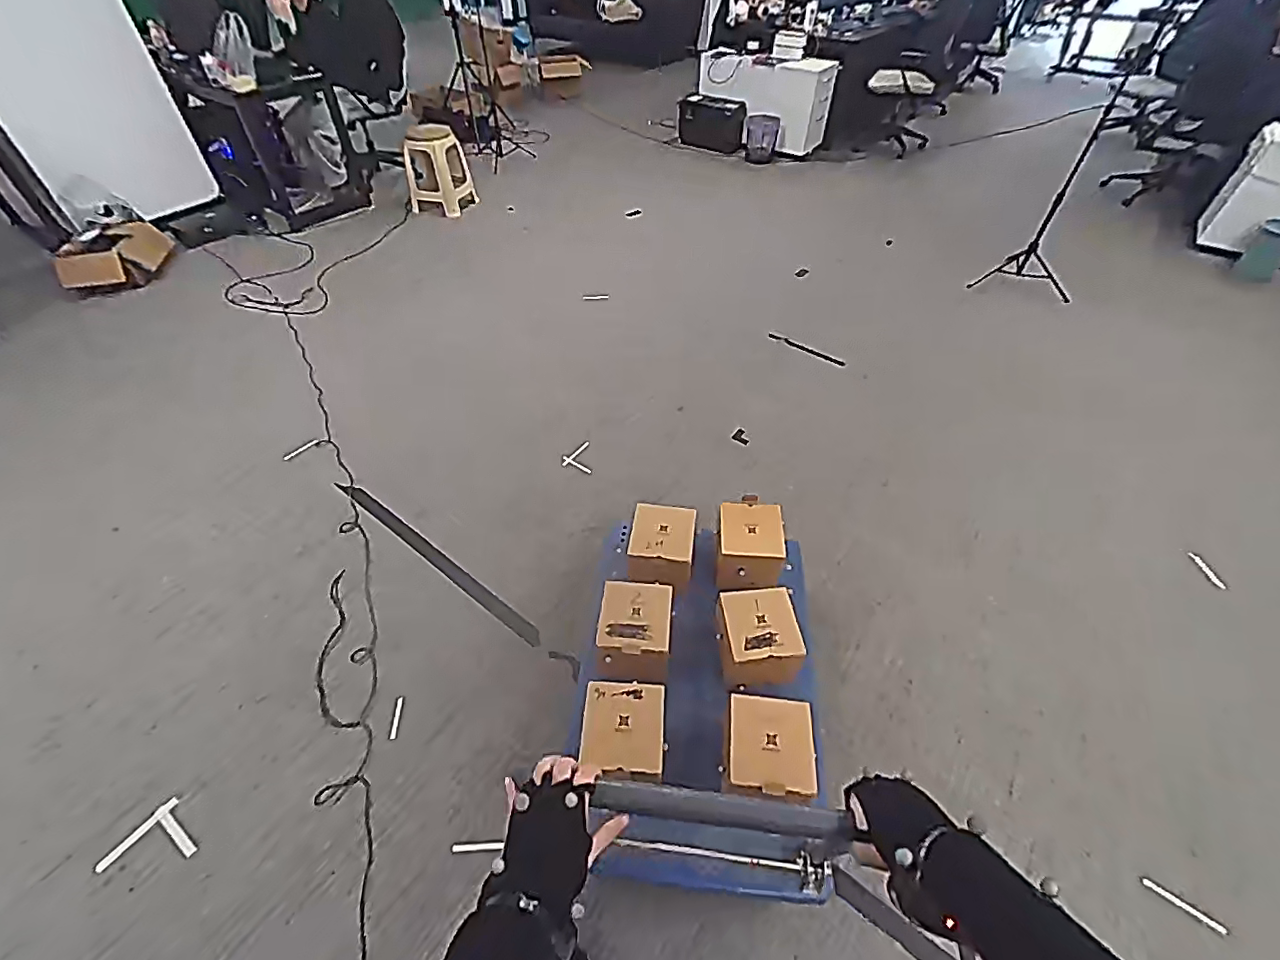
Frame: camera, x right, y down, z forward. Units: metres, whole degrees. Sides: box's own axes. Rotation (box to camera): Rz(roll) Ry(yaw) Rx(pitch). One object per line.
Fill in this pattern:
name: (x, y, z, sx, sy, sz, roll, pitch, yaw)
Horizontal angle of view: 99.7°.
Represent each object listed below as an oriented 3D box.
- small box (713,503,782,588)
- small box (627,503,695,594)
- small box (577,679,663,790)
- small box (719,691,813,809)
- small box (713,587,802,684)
small box: (0.293, 0.184, 1.500, 0.168, 0.176, 0.179, 3, 47, 3)
small box: (0.058, 0.189, 1.491, 0.168, 0.176, 0.179, 6, 48, 6)
small box: (-0.037, 0.550, 1.160, 0.168, 0.176, 0.179, 3, 48, 2)
small box: (0.260, 0.574, 1.141, 0.168, 0.176, 0.179, 6, 47, 4)
small box: (0.277, 0.383, 1.315, 0.168, 0.176, 0.179, -4, 47, -4)
